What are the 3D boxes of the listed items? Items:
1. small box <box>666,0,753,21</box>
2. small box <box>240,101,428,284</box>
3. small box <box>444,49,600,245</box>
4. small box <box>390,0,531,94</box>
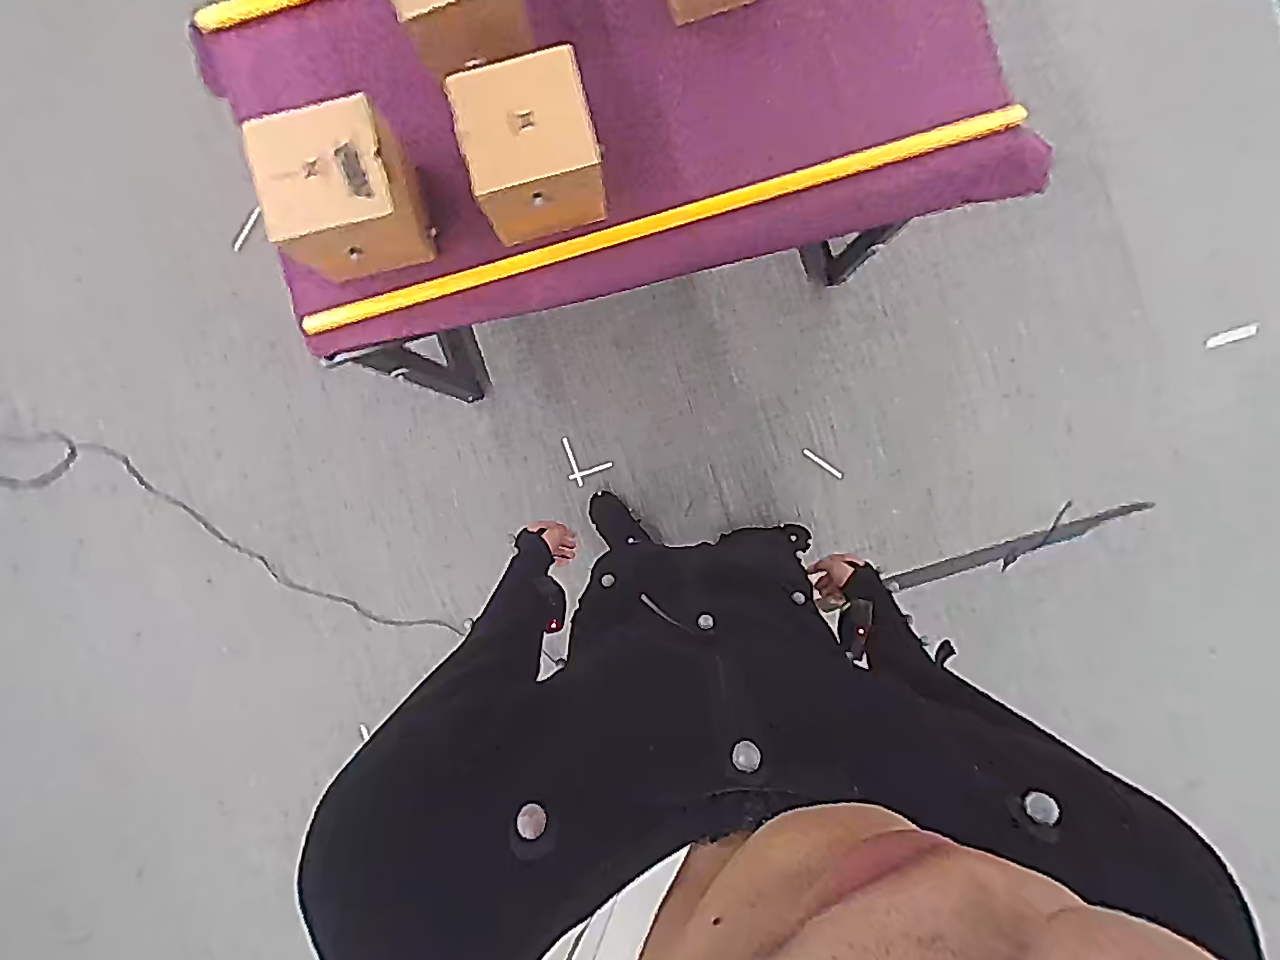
[{"bbox_3d":[0.109,-0.835,0.796,0.179,0.176,0.168,-18,93,1],"label":"small box"},{"bbox_3d":[-0.436,-0.414,0.807,0.179,0.176,0.168,-13,92,0],"label":"small box"},{"bbox_3d":[-0.161,-0.481,0.808,0.179,0.176,0.168,-15,91,1],"label":"small box"},{"bbox_3d":[-0.277,-0.725,0.801,0.168,0.176,0.179,-20,92,1],"label":"small box"}]
